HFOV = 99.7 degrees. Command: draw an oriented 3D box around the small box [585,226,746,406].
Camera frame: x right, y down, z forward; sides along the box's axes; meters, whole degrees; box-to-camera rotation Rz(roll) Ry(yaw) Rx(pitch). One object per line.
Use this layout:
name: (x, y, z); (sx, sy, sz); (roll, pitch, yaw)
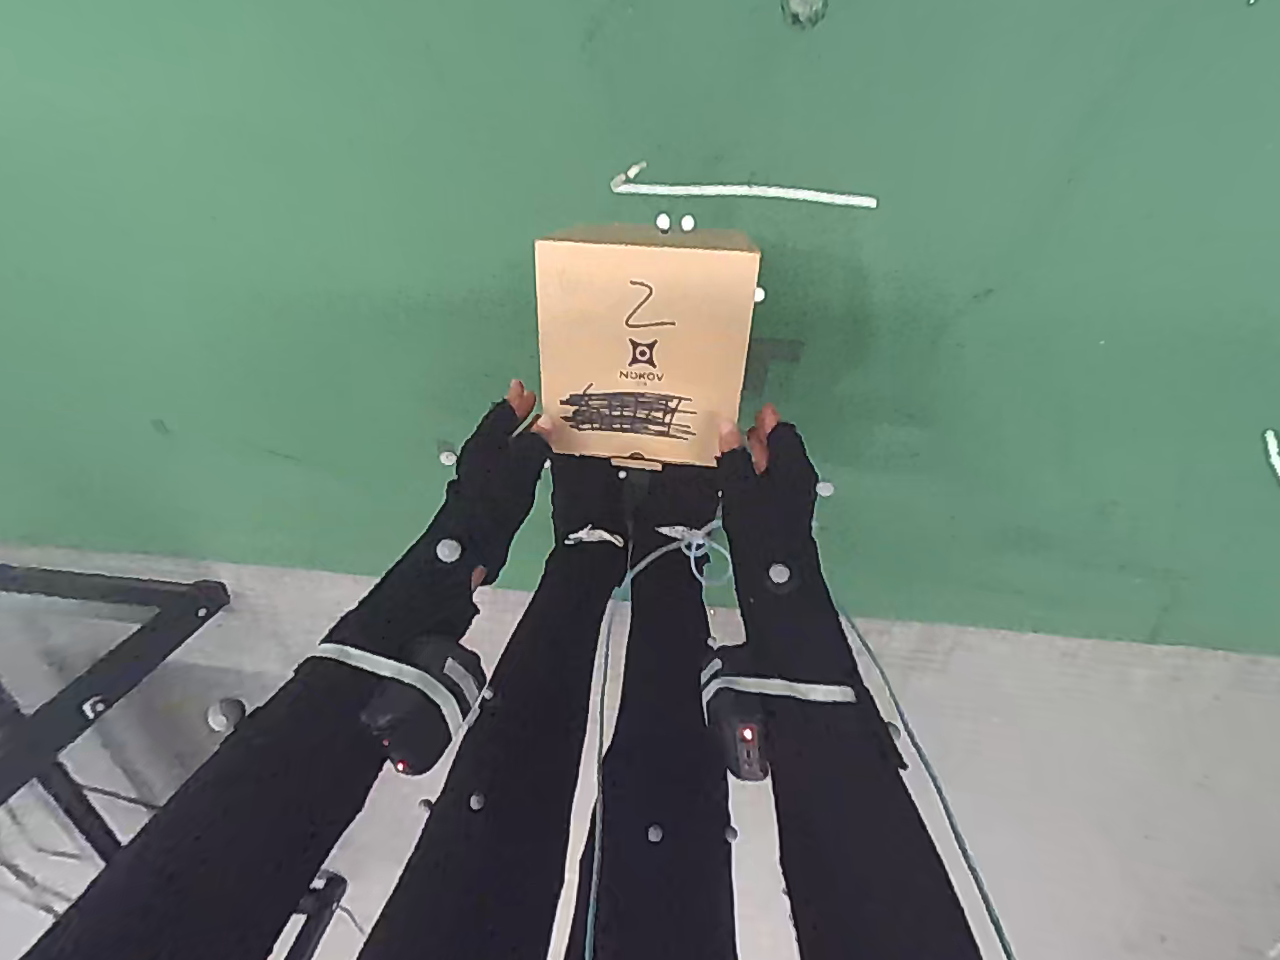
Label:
small box: (0.029, -0.206, 0.654); (0.168, 0.176, 0.179); (5, 119, 4)
